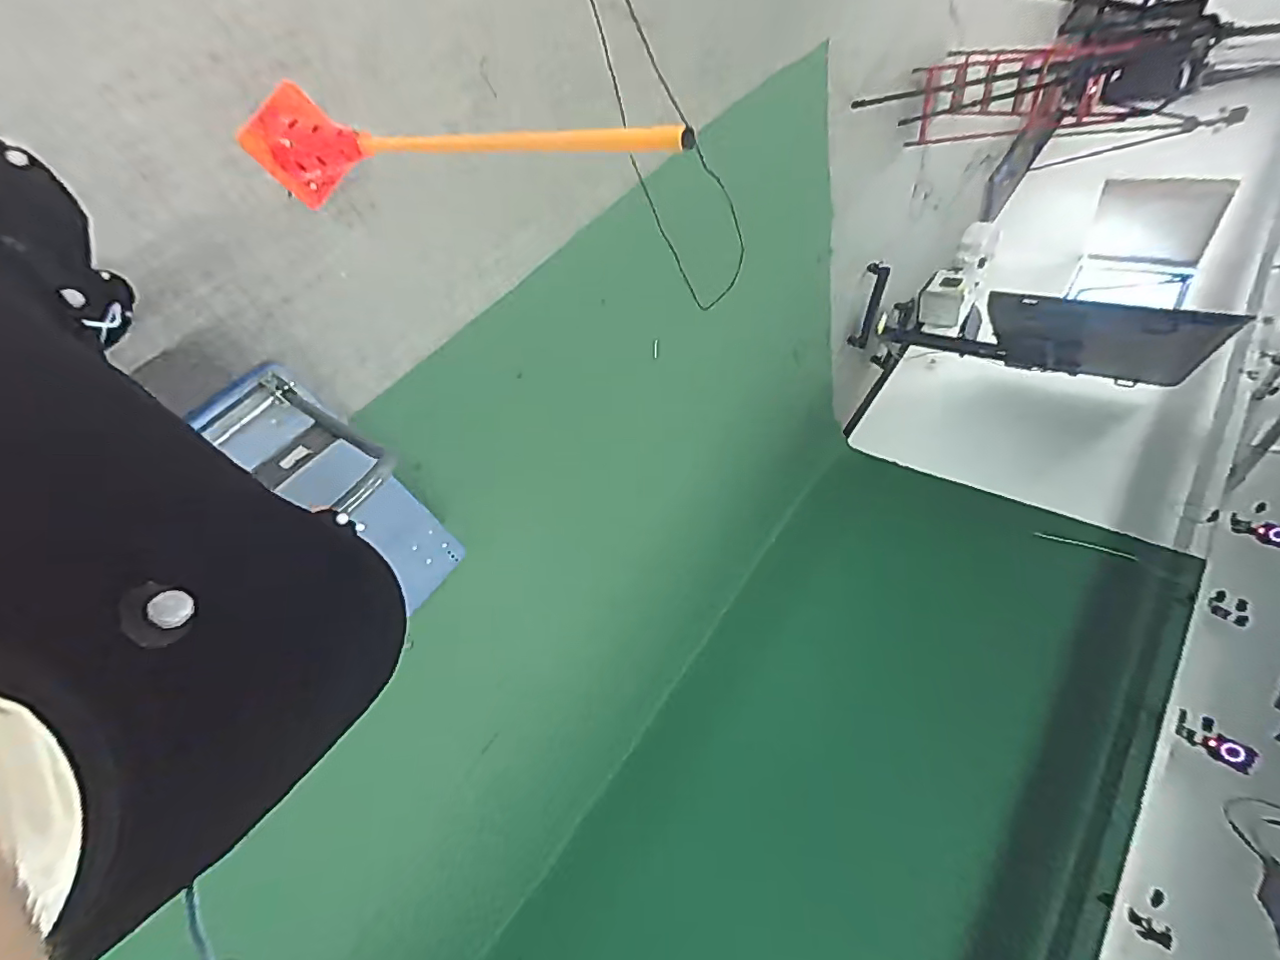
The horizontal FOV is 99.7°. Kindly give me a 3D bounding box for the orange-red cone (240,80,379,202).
[{"bbox_3d":[-0.686,-0.753,1.205,0.199,0.360,0.198,-59,146,-11],"label":"orange-red cone"}]
